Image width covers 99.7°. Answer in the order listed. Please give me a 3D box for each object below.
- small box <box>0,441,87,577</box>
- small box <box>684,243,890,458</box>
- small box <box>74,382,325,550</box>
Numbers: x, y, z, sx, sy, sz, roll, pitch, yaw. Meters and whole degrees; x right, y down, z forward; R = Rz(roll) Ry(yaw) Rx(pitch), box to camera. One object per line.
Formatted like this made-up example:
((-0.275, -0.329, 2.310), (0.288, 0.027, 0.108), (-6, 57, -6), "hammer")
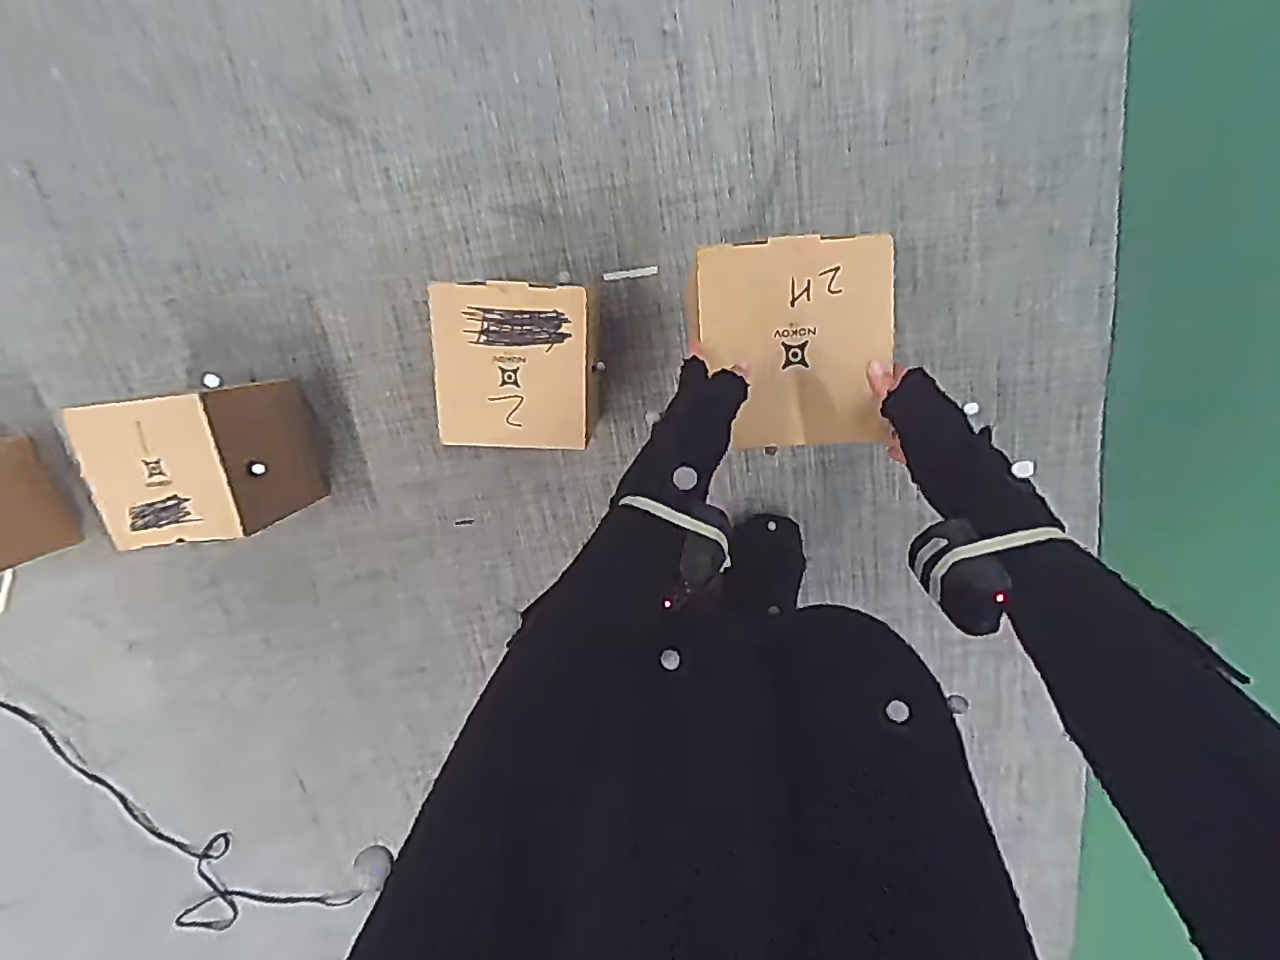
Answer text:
((-0.946, 0.050, 0.743), (0.168, 0.176, 0.179), (-10, 106, 5), "small box")
((0.131, -0.119, 0.541), (0.168, 0.176, 0.179), (-2, 97, 2), "small box")
((-0.551, -0.025, 0.708), (0.168, 0.176, 0.179), (-6, 105, 4), "small box")
